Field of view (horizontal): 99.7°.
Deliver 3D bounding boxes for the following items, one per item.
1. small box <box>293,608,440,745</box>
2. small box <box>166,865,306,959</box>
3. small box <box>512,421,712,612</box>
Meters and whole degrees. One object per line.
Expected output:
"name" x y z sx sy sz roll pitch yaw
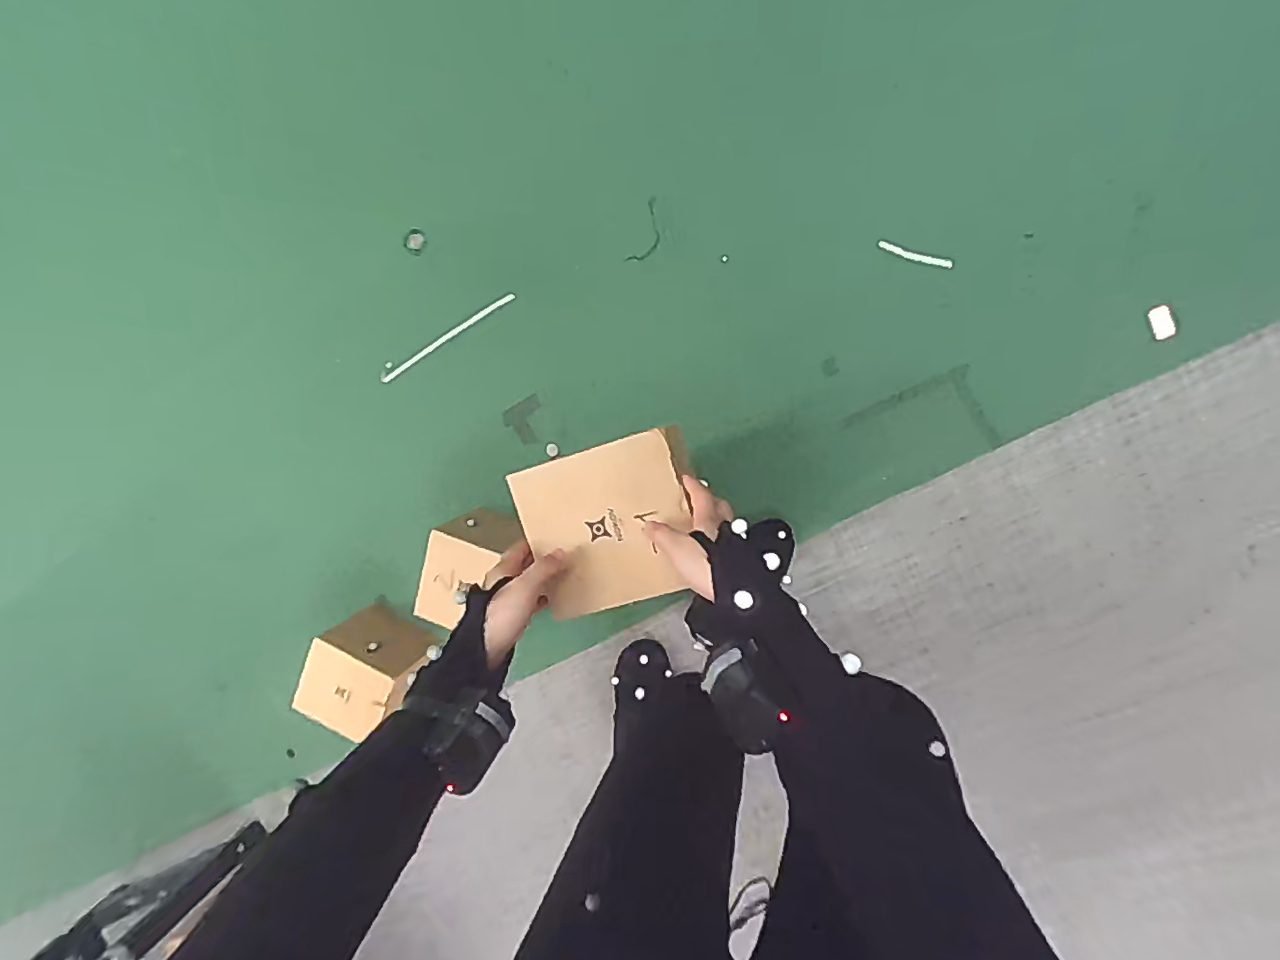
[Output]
"small box" -0.538 0.379 1.082 0.179 0.176 0.168 25 103 4
"small box" -0.942 1.066 1.278 0.168 0.176 0.179 -23 95 13
"small box" -0.019 0.033 0.639 0.179 0.176 0.168 -16 96 10
